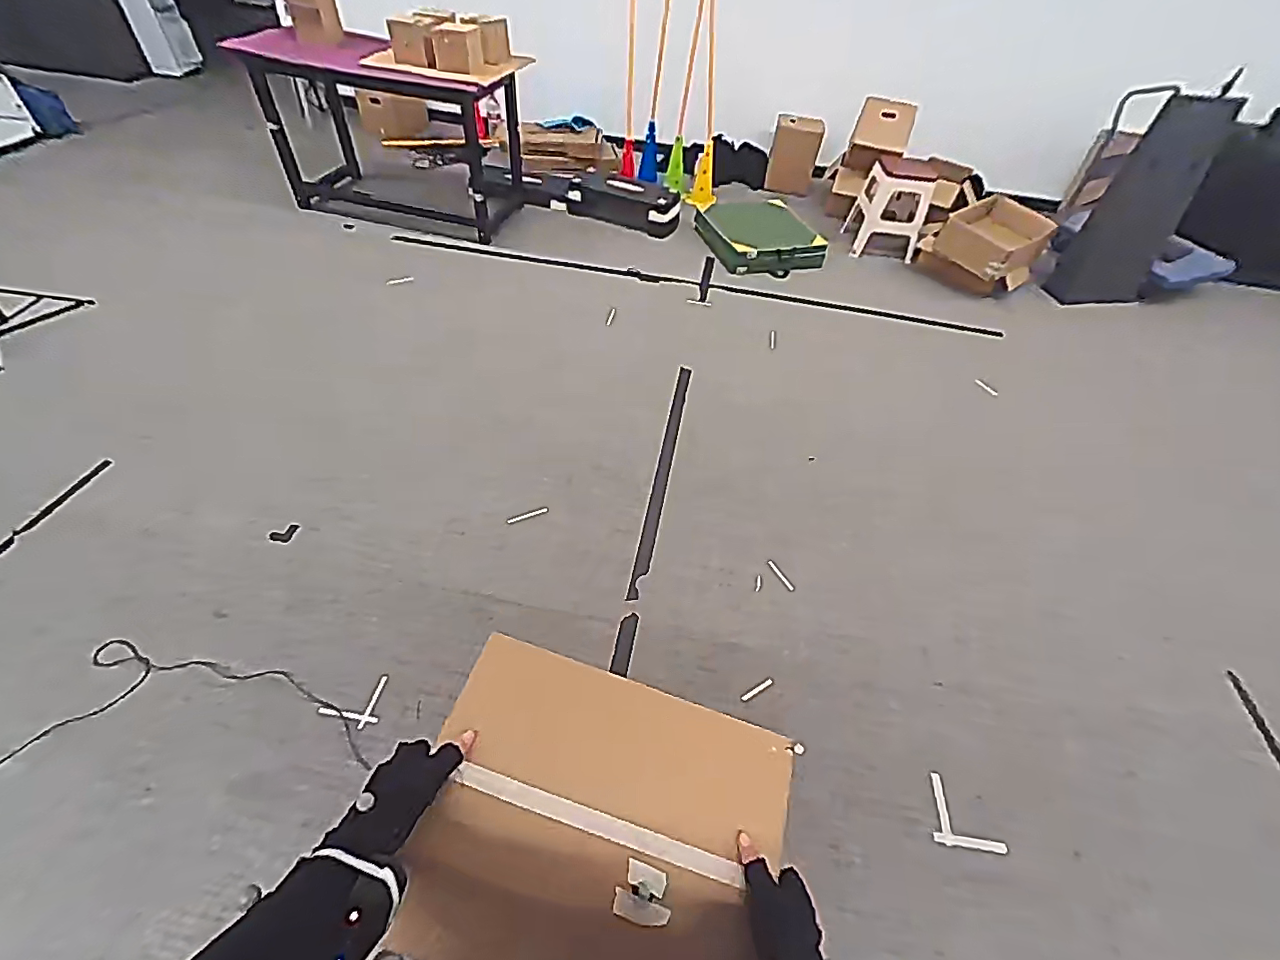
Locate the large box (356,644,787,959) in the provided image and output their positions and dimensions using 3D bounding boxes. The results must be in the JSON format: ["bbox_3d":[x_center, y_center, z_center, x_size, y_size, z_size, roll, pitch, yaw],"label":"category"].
[{"bbox_3d":[-0.068,0.471,0.715,0.408,0.320,0.320,19,54,4],"label":"large box"}]
